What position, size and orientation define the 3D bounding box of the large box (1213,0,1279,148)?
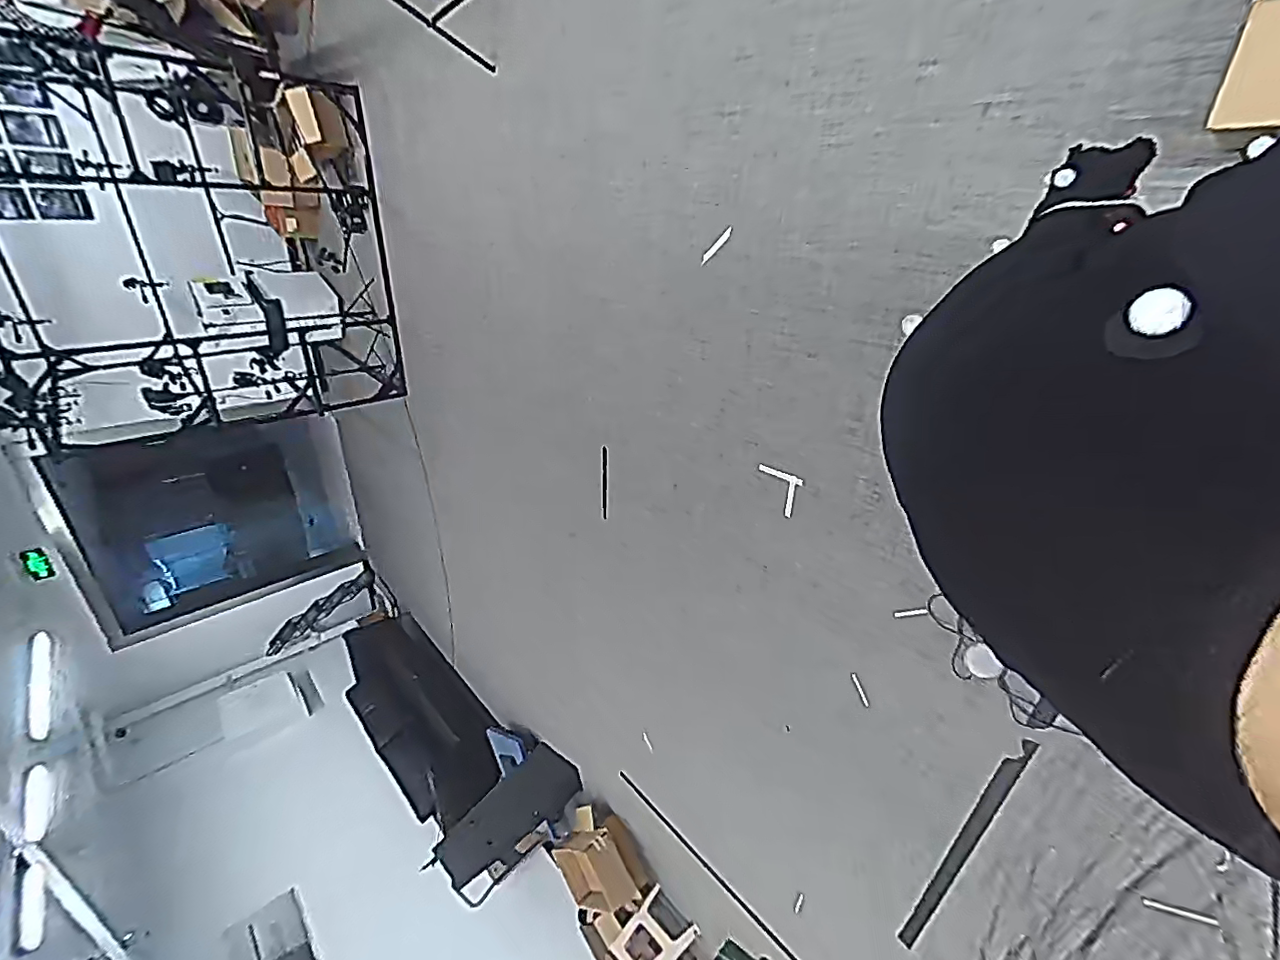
[{"bbox_3d":[1.058,-0.621,0.673,0.408,0.320,0.320,26,126,40],"label":"large box"}]
